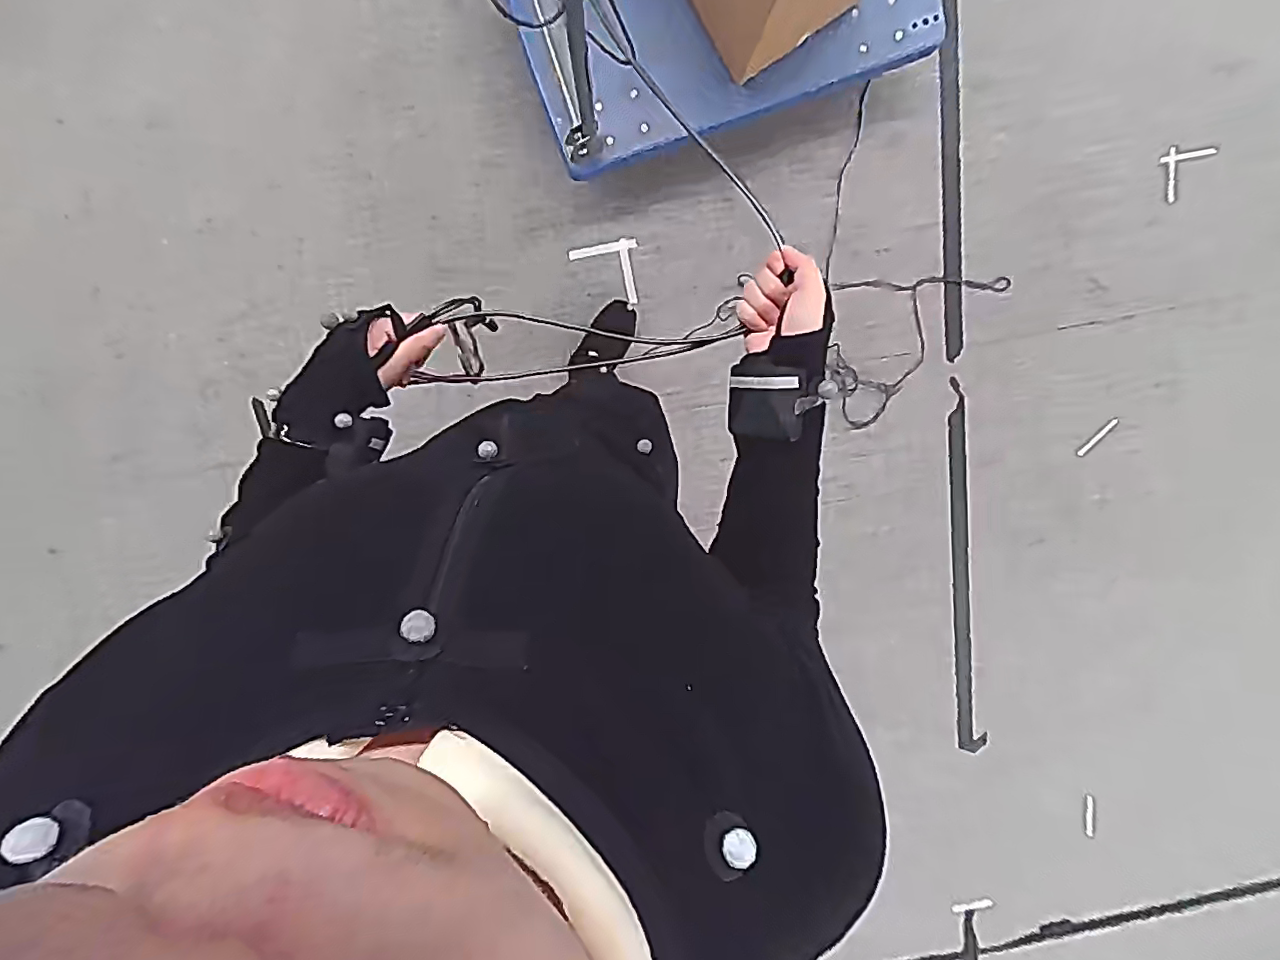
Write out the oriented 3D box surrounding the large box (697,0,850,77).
[{"bbox_3d":[0.234,-1.062,0.953,0.320,0.320,0.408,-34,102,5],"label":"large box"}]
